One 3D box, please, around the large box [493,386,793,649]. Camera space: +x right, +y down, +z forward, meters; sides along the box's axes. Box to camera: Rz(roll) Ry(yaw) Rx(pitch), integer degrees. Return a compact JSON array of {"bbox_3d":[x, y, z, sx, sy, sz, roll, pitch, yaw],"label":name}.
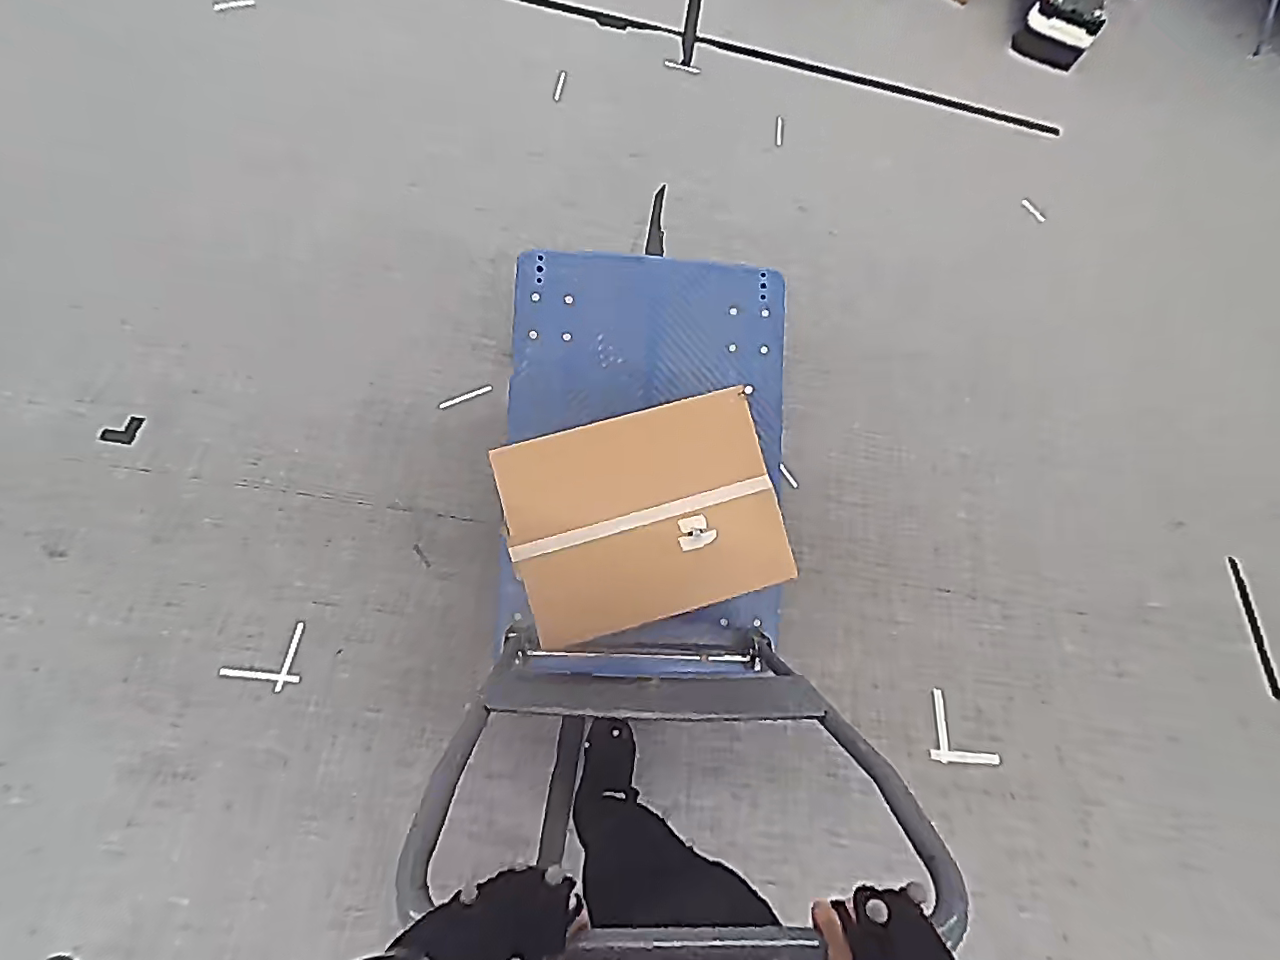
[{"bbox_3d":[-0.006,0.062,0.972,0.408,0.320,0.320,-16,89,-7],"label":"large box"}]
